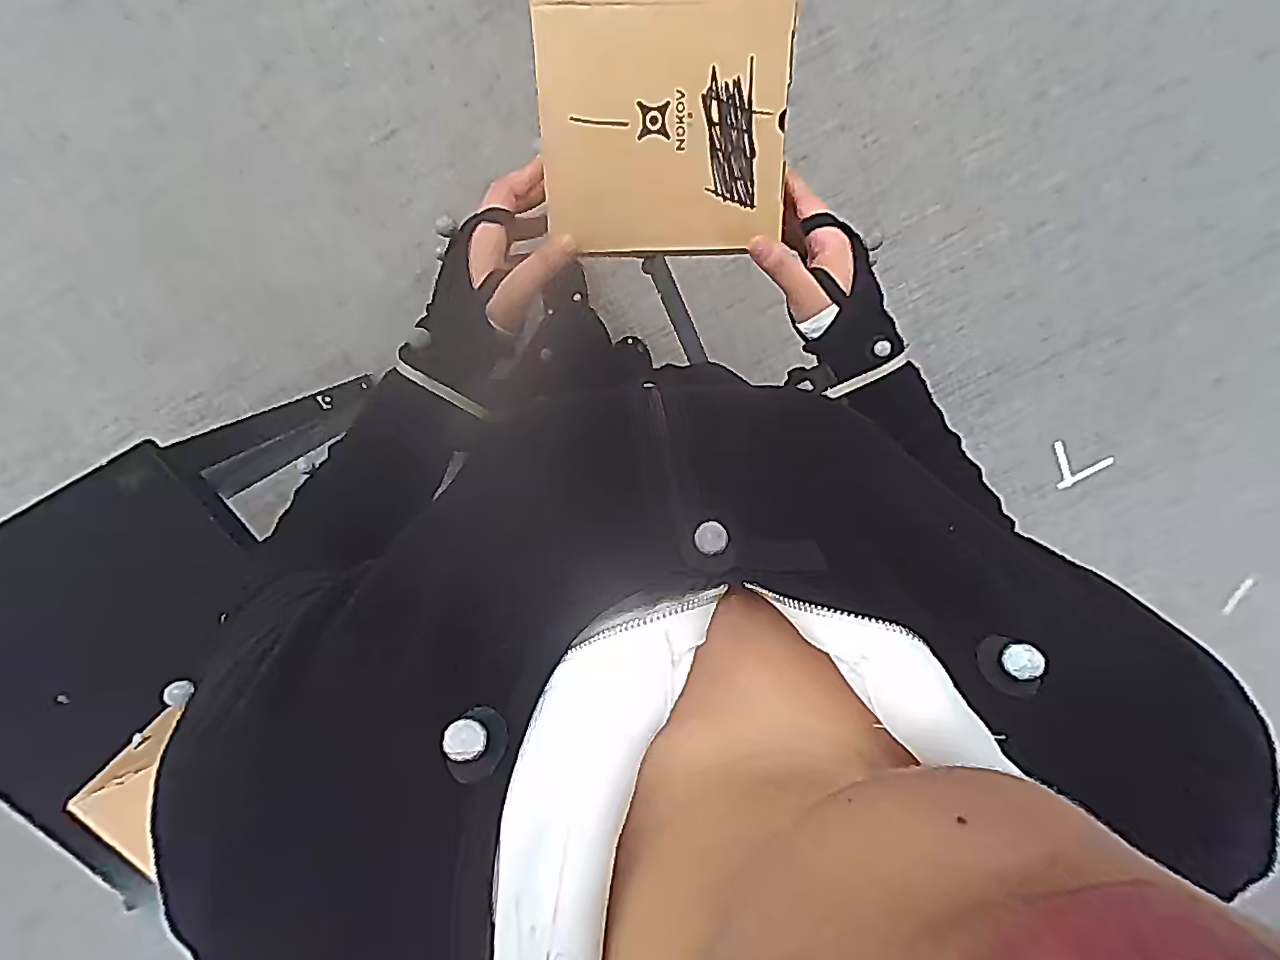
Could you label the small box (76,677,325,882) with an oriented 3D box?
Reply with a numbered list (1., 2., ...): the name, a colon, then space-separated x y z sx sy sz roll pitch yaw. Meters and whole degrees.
1. small box: -0.602 0.410 0.770 0.168 0.176 0.179 -26 110 7
